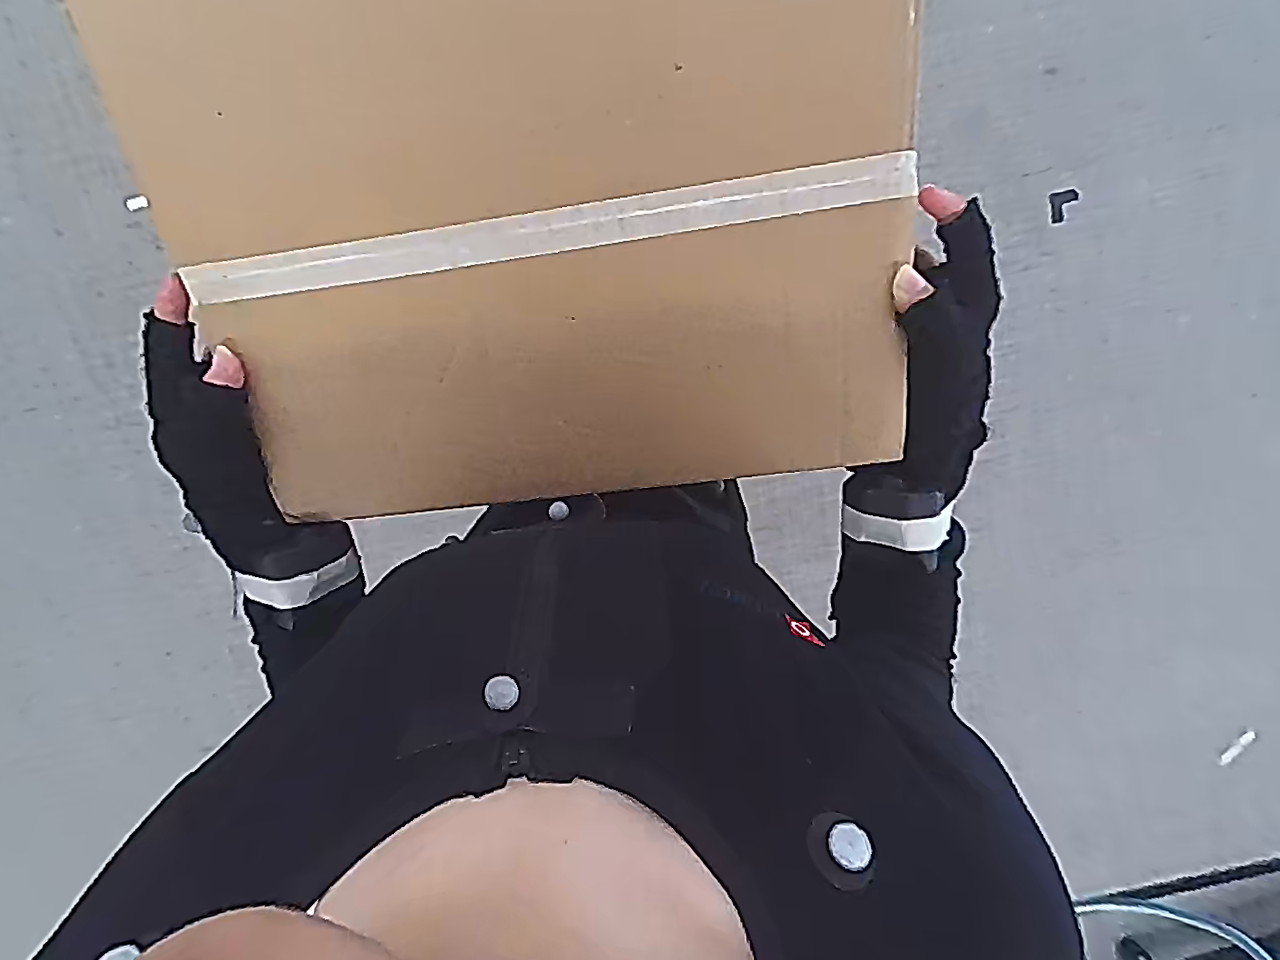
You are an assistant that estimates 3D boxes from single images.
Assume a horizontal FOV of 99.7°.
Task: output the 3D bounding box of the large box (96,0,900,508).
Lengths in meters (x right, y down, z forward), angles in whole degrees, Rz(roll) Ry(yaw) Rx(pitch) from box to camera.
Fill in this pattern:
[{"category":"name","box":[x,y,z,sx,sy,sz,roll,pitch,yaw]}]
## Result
[{"category":"large box","box":[-0.053,-0.199,0.441,0.408,0.320,0.320,-6,111,5]}]
